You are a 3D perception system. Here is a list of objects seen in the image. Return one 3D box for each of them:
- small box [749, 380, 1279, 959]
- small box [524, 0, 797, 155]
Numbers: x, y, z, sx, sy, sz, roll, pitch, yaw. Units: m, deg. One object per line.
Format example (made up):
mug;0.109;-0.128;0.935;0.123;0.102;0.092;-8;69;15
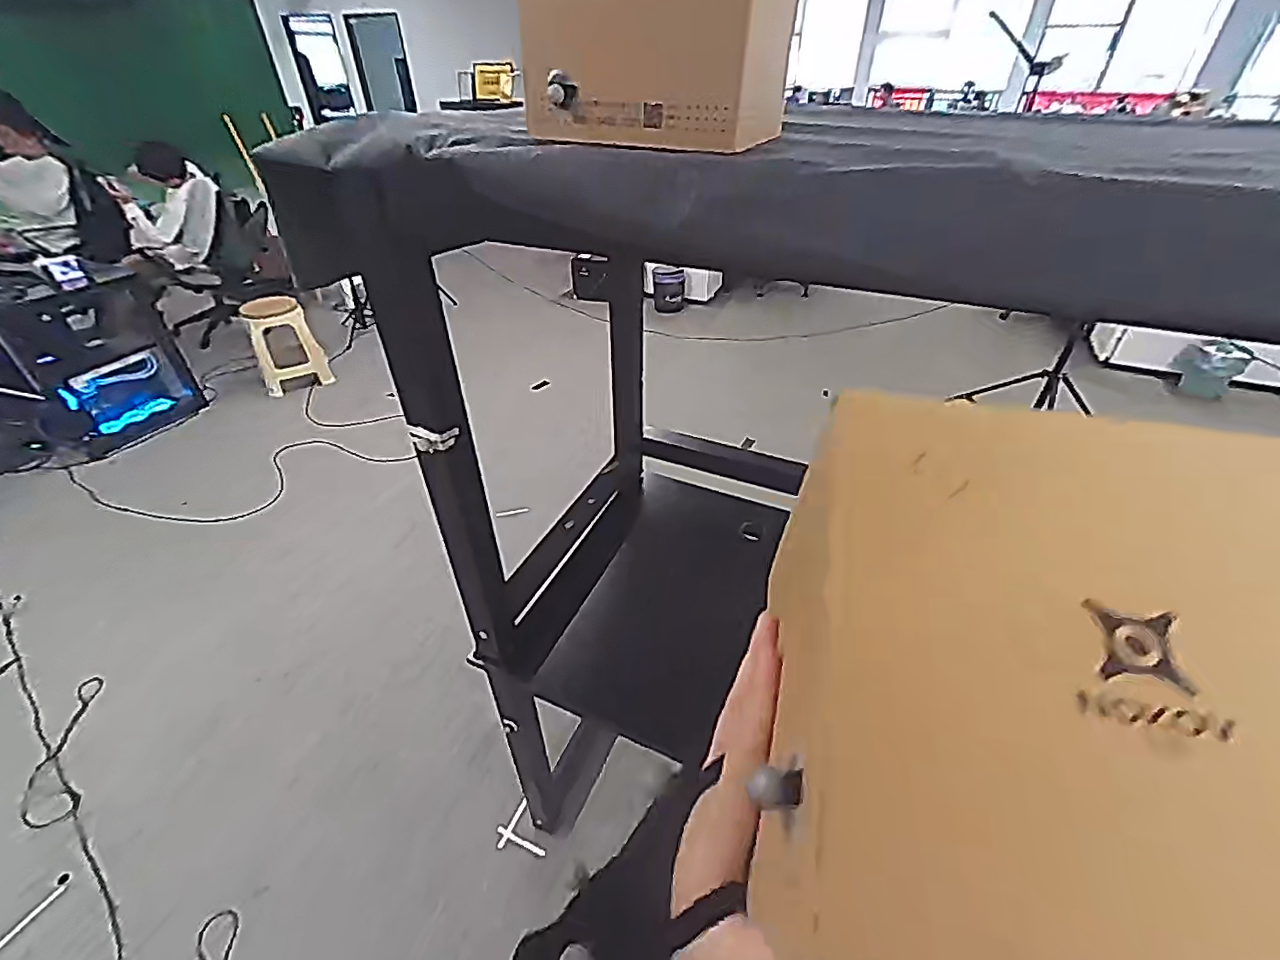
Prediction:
small box;0.140;0.090;0.213;0.168;0.176;0.179;9;59;10
small box;0.024;-0.352;0.409;0.168;0.176;0.179;15;38;17
